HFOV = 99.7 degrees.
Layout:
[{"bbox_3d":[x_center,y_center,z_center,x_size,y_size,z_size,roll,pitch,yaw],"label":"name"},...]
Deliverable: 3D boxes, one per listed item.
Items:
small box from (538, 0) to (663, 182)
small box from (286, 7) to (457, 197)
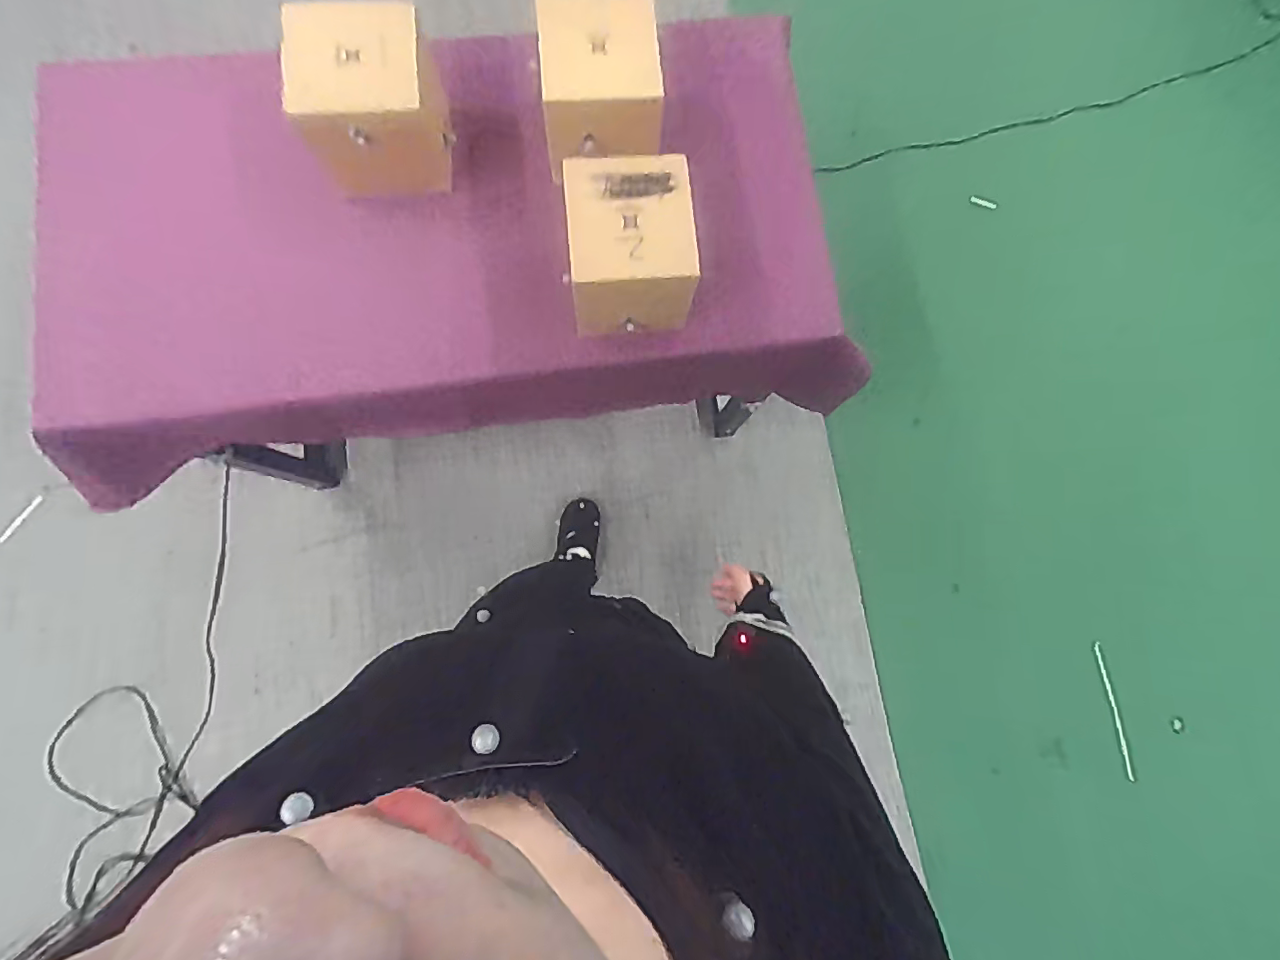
[{"bbox_3d":[-0.057,-0.578,0.818,0.168,0.176,0.179,-4,80,-4],"label":"small box"},{"bbox_3d":[-0.382,-0.542,0.796,0.179,0.176,0.168,-4,82,-5],"label":"small box"}]
